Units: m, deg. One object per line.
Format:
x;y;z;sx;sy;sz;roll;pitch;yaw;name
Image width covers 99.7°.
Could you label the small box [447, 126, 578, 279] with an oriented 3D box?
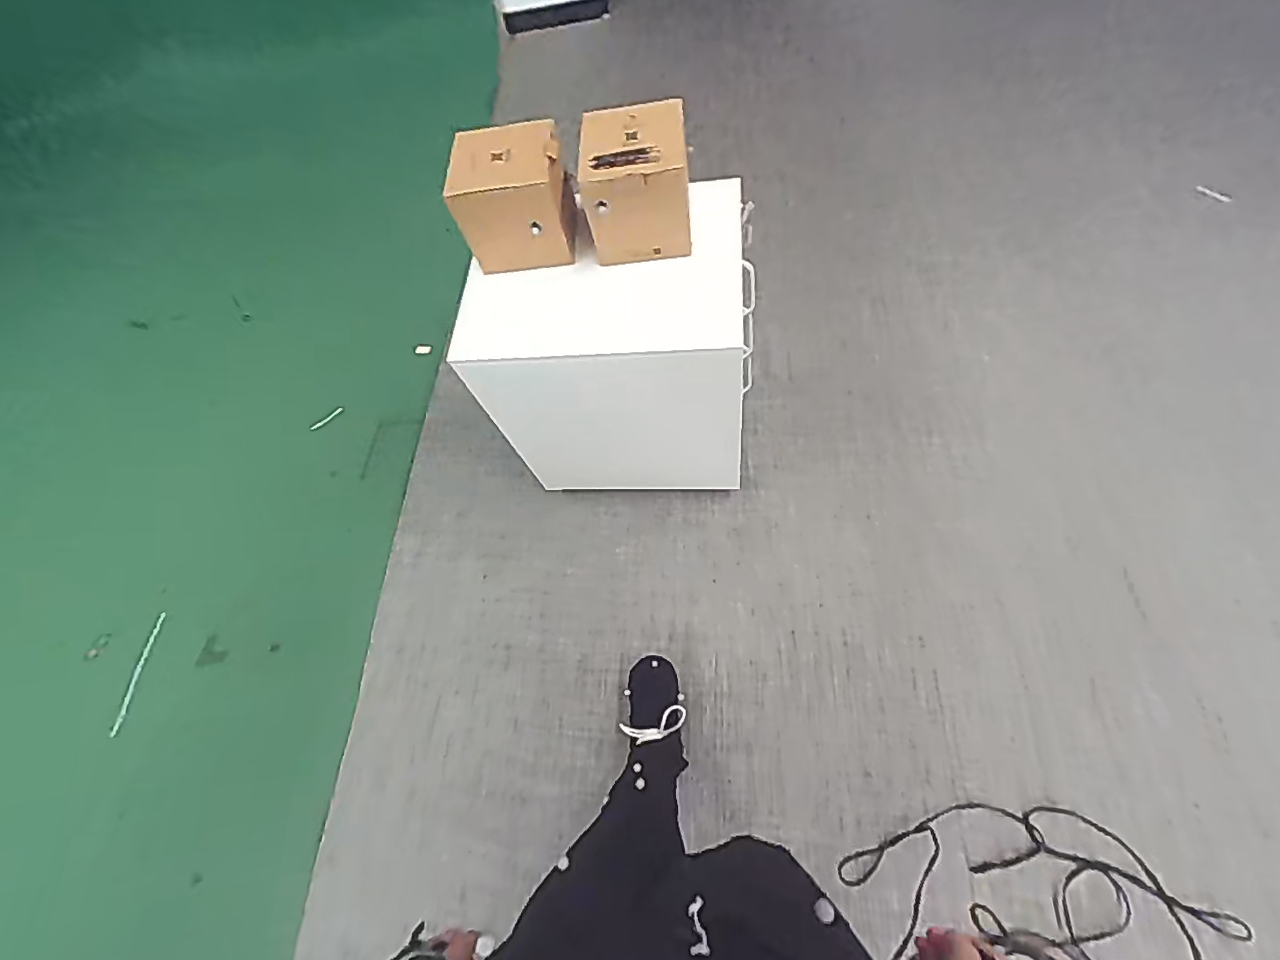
-0.214;-0.484;0.961;0.179;0.176;0.168;-4;63;7;small box
